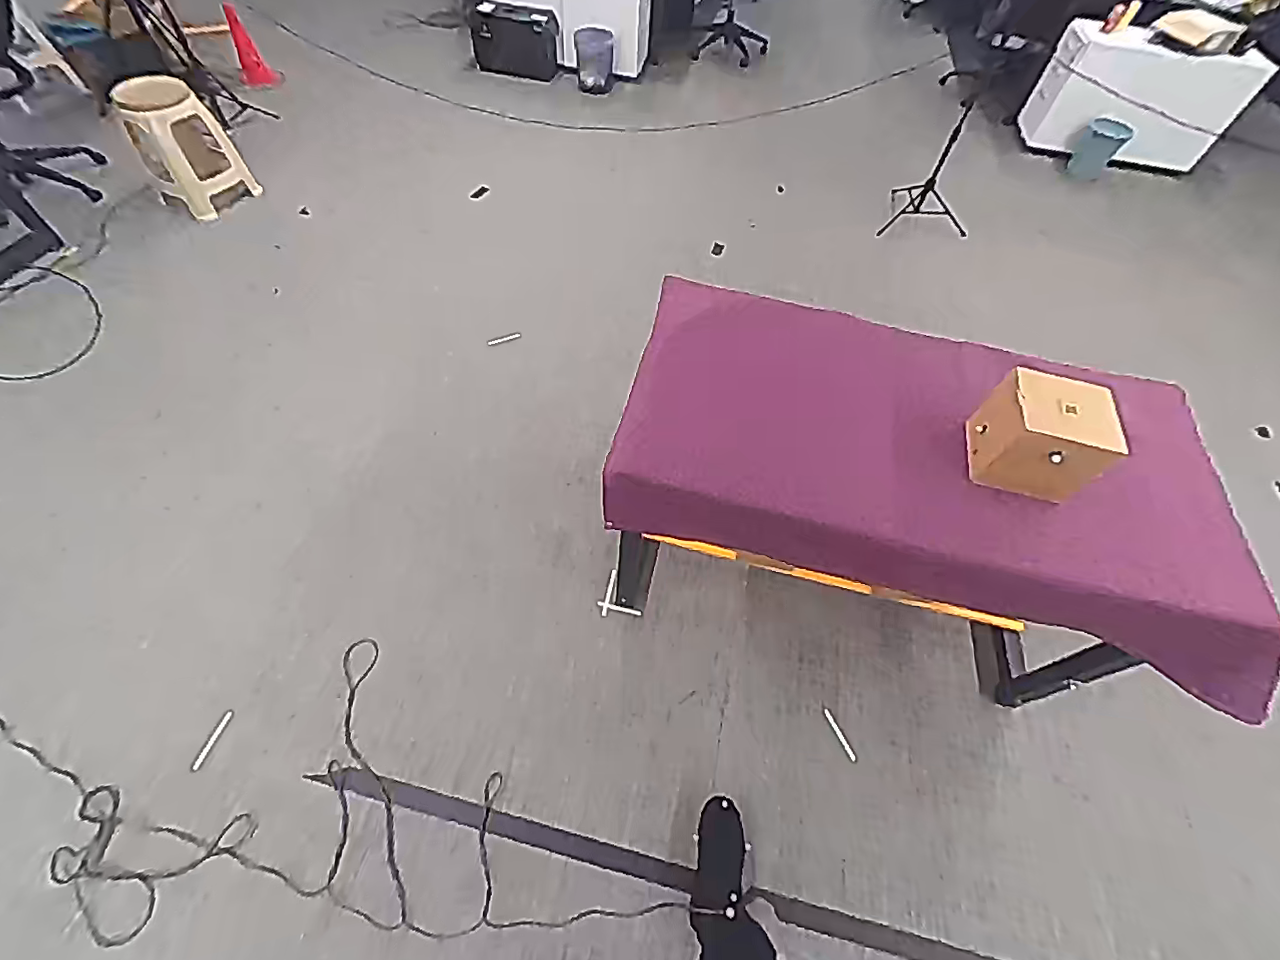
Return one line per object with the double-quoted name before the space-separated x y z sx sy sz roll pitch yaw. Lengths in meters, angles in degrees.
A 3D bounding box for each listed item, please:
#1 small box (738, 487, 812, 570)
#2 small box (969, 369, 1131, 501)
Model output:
"small box" 0.393 0.147 1.592 0.179 0.176 0.168 12 56 1
"small box" 0.767 -0.080 1.032 0.179 0.176 0.168 15 57 6
